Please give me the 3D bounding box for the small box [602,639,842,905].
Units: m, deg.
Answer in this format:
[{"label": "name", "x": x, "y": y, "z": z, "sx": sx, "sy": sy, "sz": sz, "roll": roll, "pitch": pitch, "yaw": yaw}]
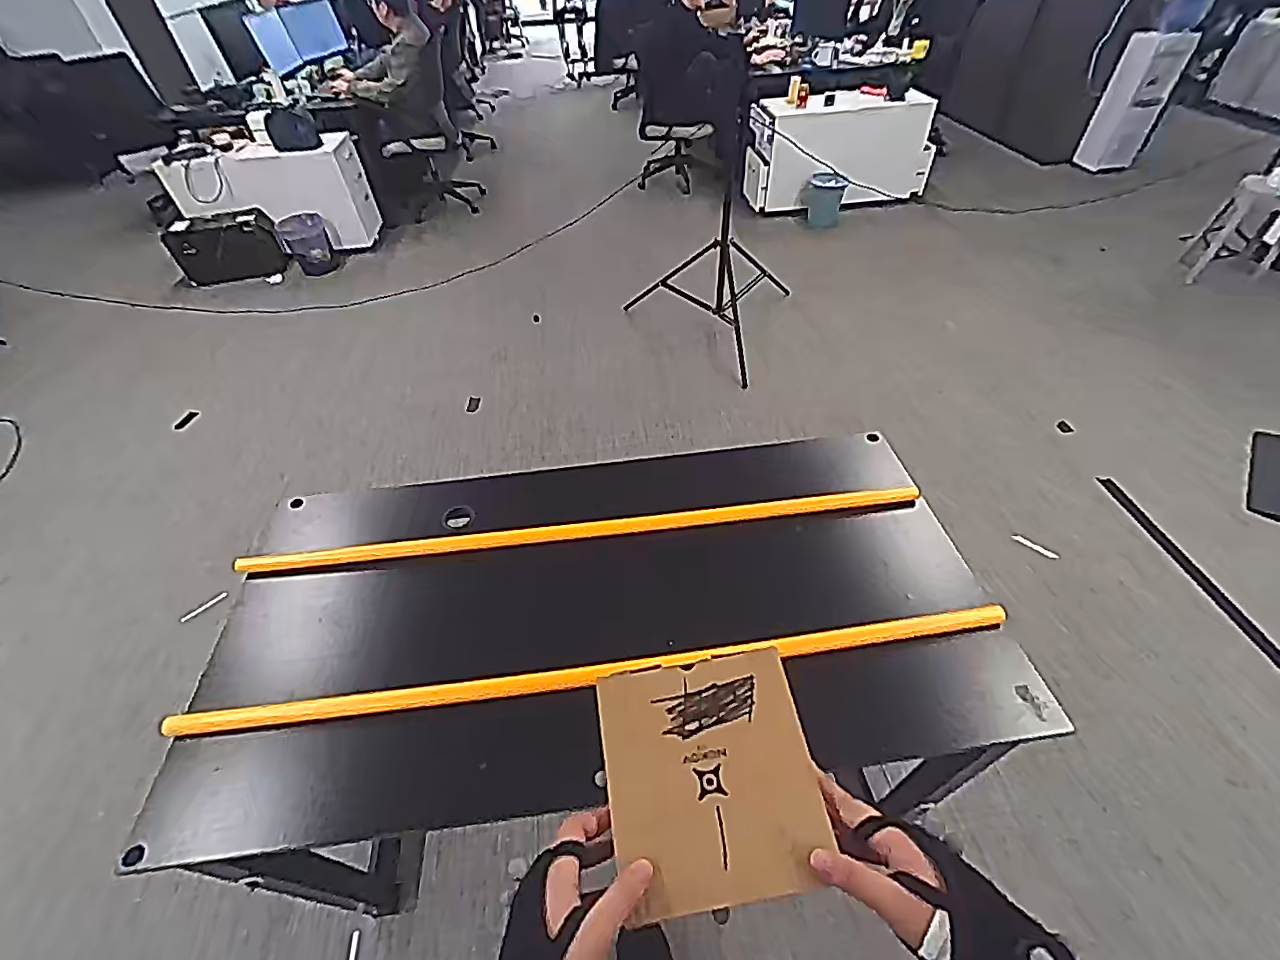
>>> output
[{"label": "small box", "x": 0.060, "y": 0.272, "z": 0.506, "sx": 0.168, "sy": 0.176, "sz": 0.179, "roll": -9, "pitch": 55, "yaw": -2}]
